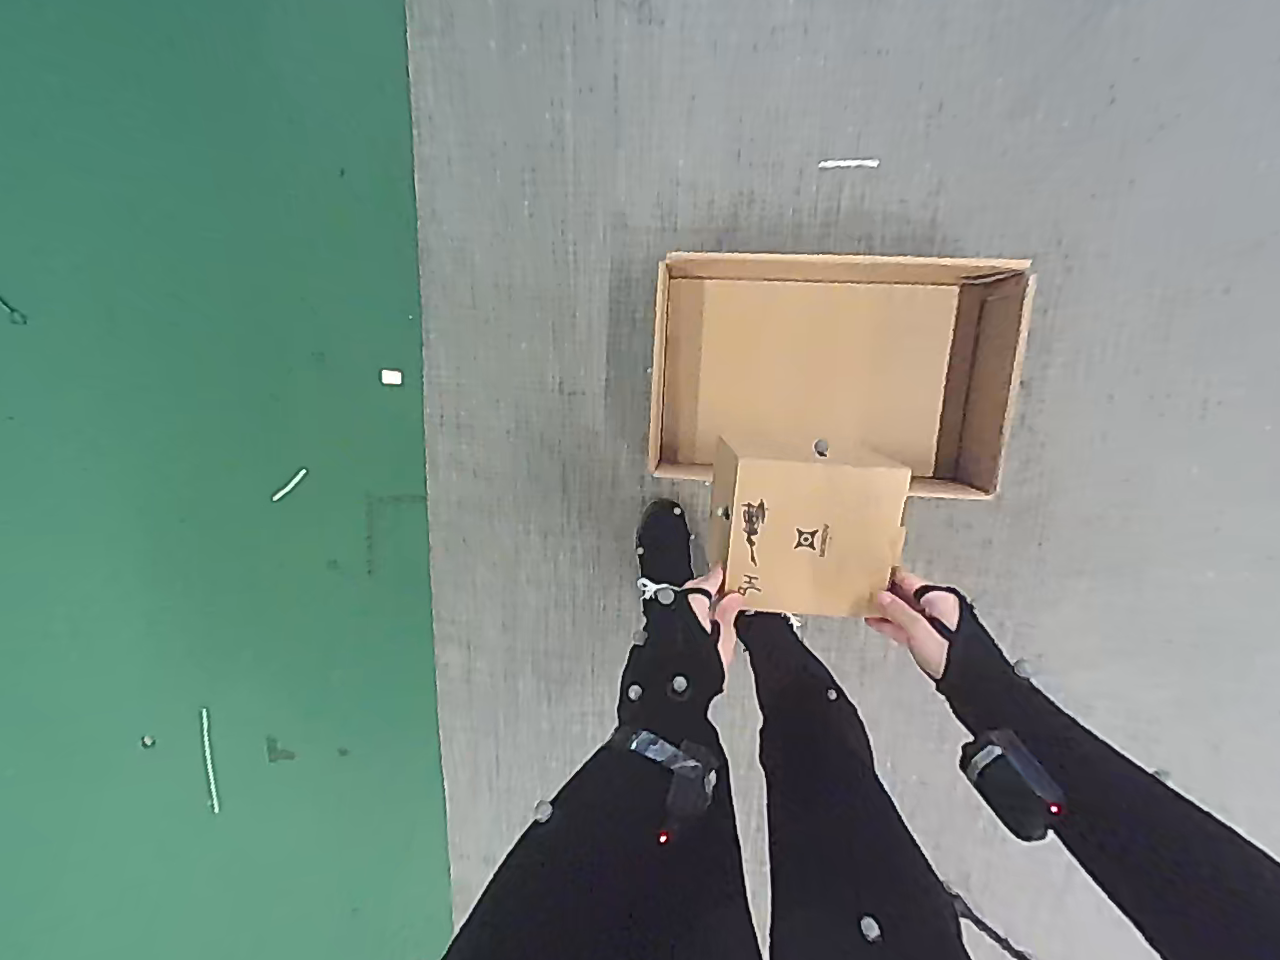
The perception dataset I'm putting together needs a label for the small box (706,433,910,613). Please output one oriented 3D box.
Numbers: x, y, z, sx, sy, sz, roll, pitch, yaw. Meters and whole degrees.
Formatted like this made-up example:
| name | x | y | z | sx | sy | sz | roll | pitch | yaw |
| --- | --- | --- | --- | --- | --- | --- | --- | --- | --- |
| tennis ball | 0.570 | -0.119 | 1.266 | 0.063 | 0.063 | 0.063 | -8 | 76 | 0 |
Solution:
| name | x | y | z | sx | sy | sz | roll | pitch | yaw |
| --- | --- | --- | --- | --- | --- | --- | --- | --- | --- |
| small box | 0.179 | 0.039 | 0.632 | 0.179 | 0.176 | 0.168 | 3 | 102 | 0 |
